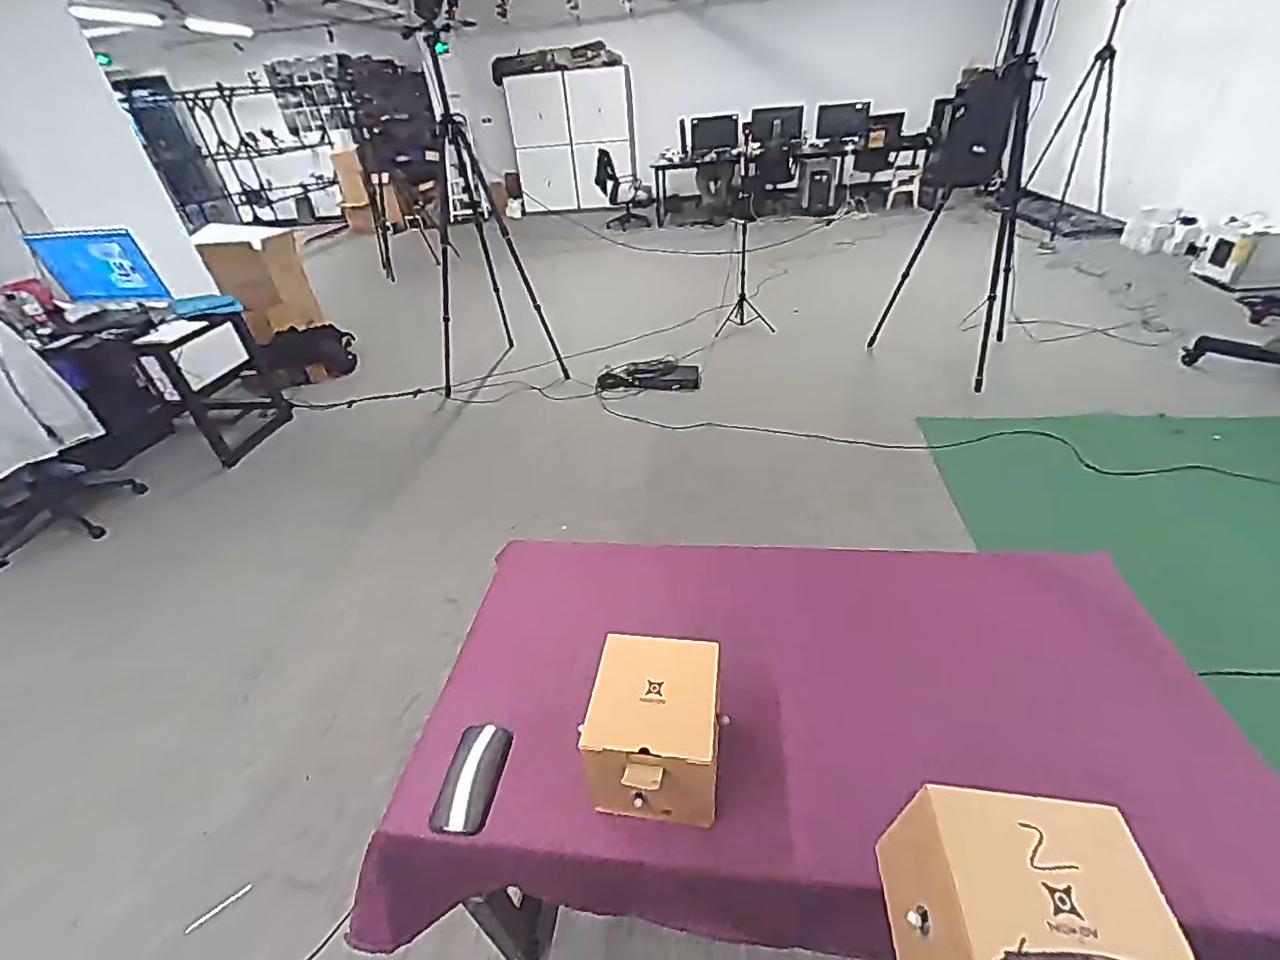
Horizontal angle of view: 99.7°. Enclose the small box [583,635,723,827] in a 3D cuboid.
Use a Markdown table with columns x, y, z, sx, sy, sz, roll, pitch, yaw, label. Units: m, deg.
| x | y | z | sx | sy | sz | roll | pitch | yaw | label |
| --- | --- | --- | --- | --- | --- | --- | --- | --- | --- |
| 0.027 | 0.348 | 0.761 | 0.168 | 0.176 | 0.179 | 3 | 36 | 10 | small box |
